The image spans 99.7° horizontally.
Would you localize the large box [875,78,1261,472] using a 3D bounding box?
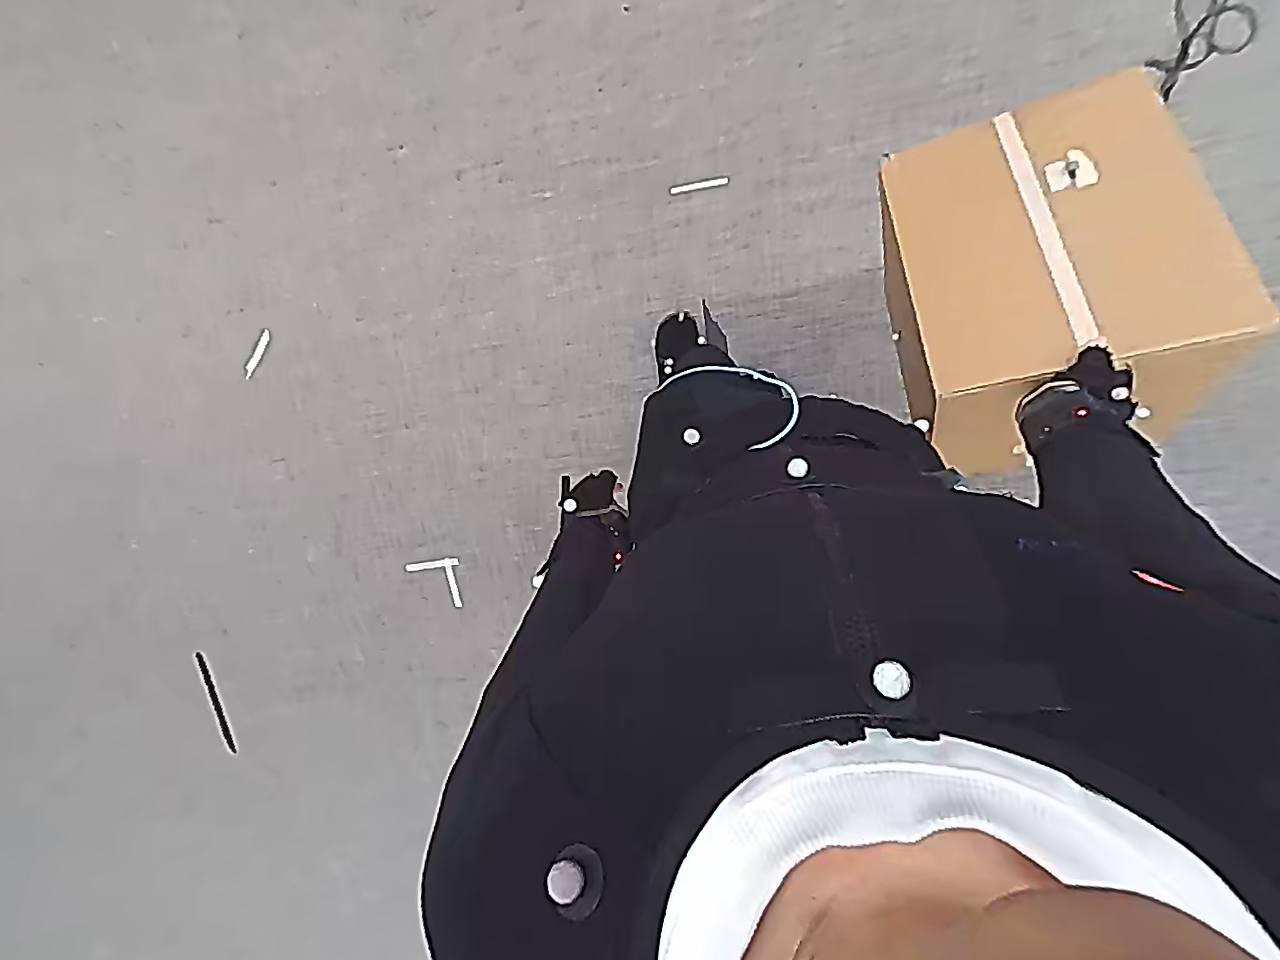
[{"bbox_3d":[0.564,-0.269,0.816,0.320,0.320,0.408,-10,67,21],"label":"large box"}]
